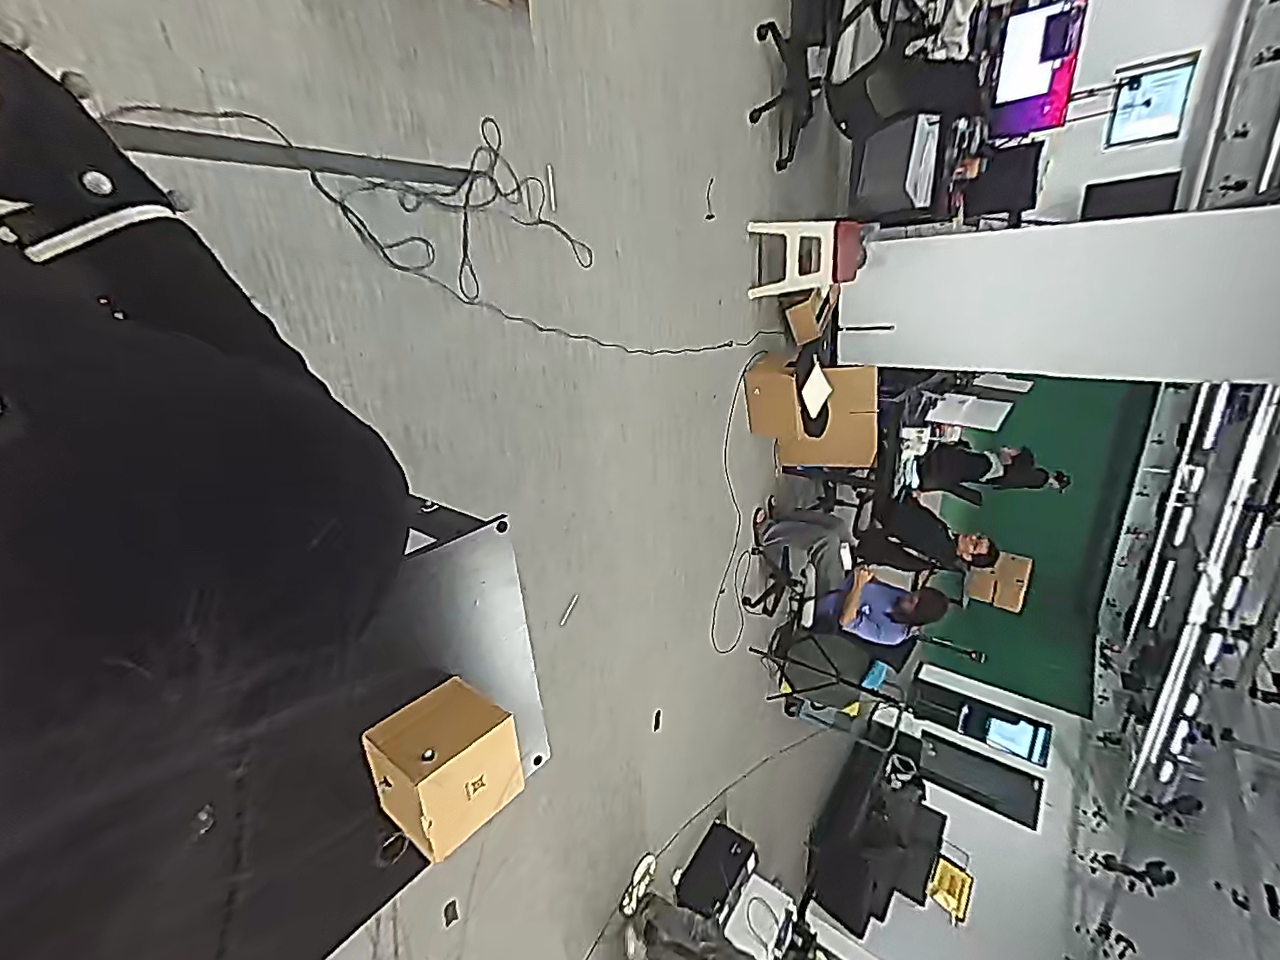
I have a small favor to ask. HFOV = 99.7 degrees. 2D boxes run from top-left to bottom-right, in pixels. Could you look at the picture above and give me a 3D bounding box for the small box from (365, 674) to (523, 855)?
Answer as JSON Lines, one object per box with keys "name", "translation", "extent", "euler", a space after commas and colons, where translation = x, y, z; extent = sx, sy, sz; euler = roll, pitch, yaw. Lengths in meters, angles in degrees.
{"name": "small box", "translation": [-0.326, 0.462, 0.912], "extent": [0.179, 0.176, 0.168], "euler": [-25, 118, -46]}
